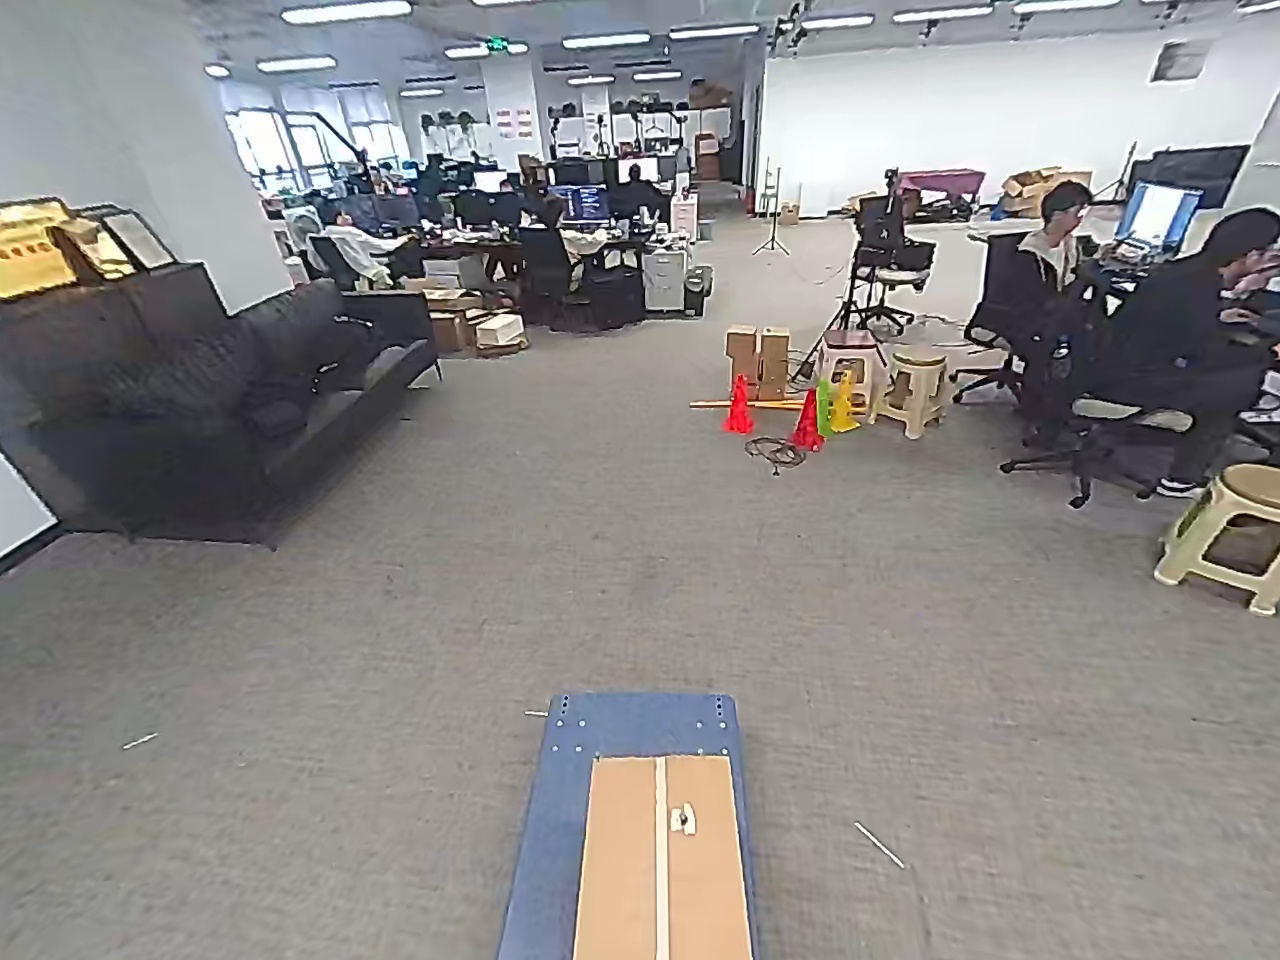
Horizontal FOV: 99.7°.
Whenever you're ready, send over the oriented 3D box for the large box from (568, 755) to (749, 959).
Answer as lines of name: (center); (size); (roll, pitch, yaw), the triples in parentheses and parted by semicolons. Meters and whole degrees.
large box: (0.041, 0.860, 1.141); (0.320, 0.320, 0.408); (-1, 33, 2)
